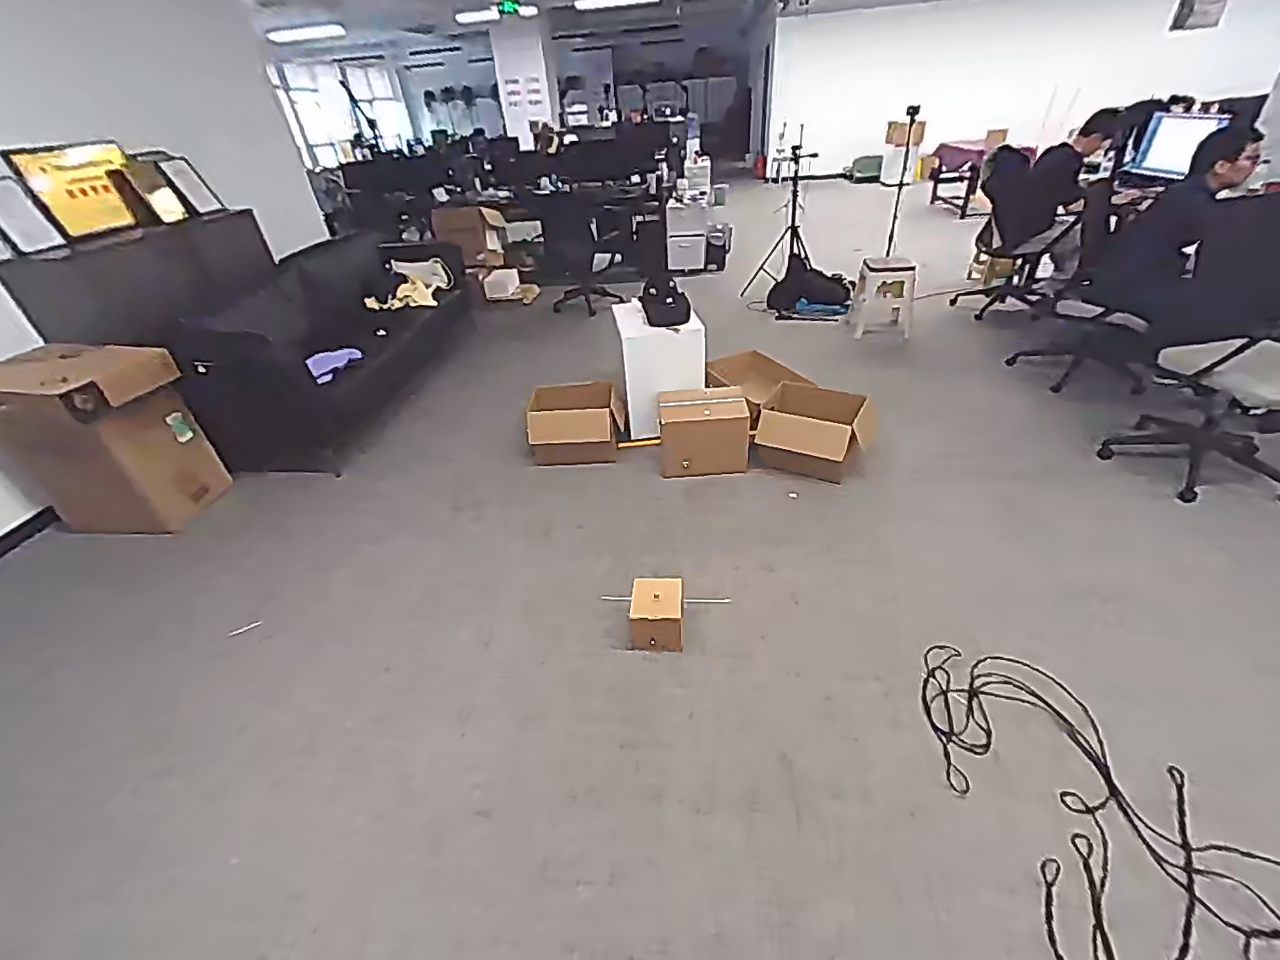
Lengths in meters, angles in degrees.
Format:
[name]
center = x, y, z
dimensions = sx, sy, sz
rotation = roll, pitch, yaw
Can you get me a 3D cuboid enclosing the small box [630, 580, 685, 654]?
[small box]
center = 0.062, 0.456, 1.807
dimensions = 0.168, 0.176, 0.179
rotation = -1, 36, 7
